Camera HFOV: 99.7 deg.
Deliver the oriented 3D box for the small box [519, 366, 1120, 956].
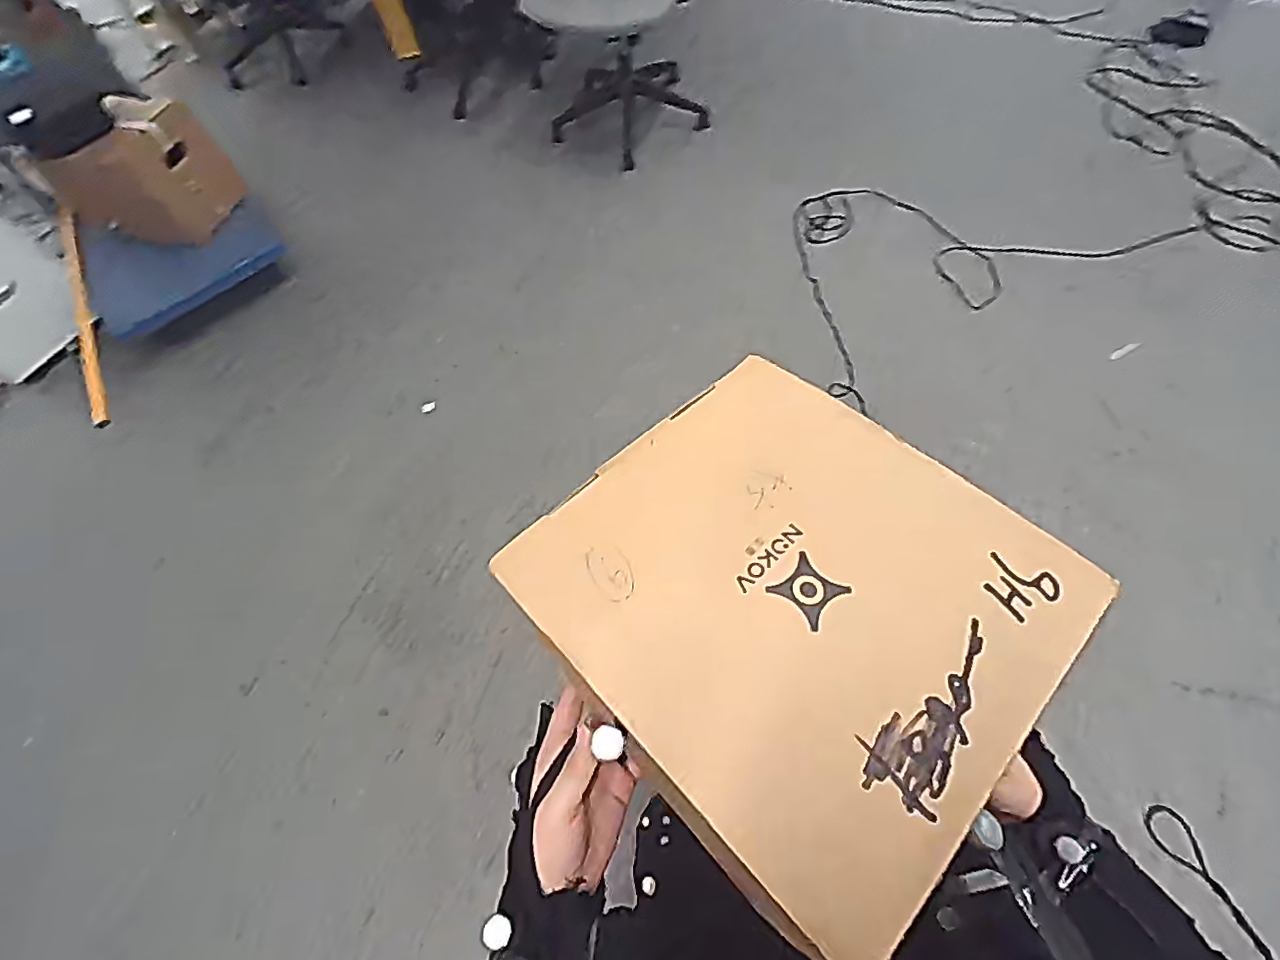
[{"bbox_3d":[0.069,0.082,0.280,0.168,0.176,0.179,-39,63,-19],"label":"small box"}]
